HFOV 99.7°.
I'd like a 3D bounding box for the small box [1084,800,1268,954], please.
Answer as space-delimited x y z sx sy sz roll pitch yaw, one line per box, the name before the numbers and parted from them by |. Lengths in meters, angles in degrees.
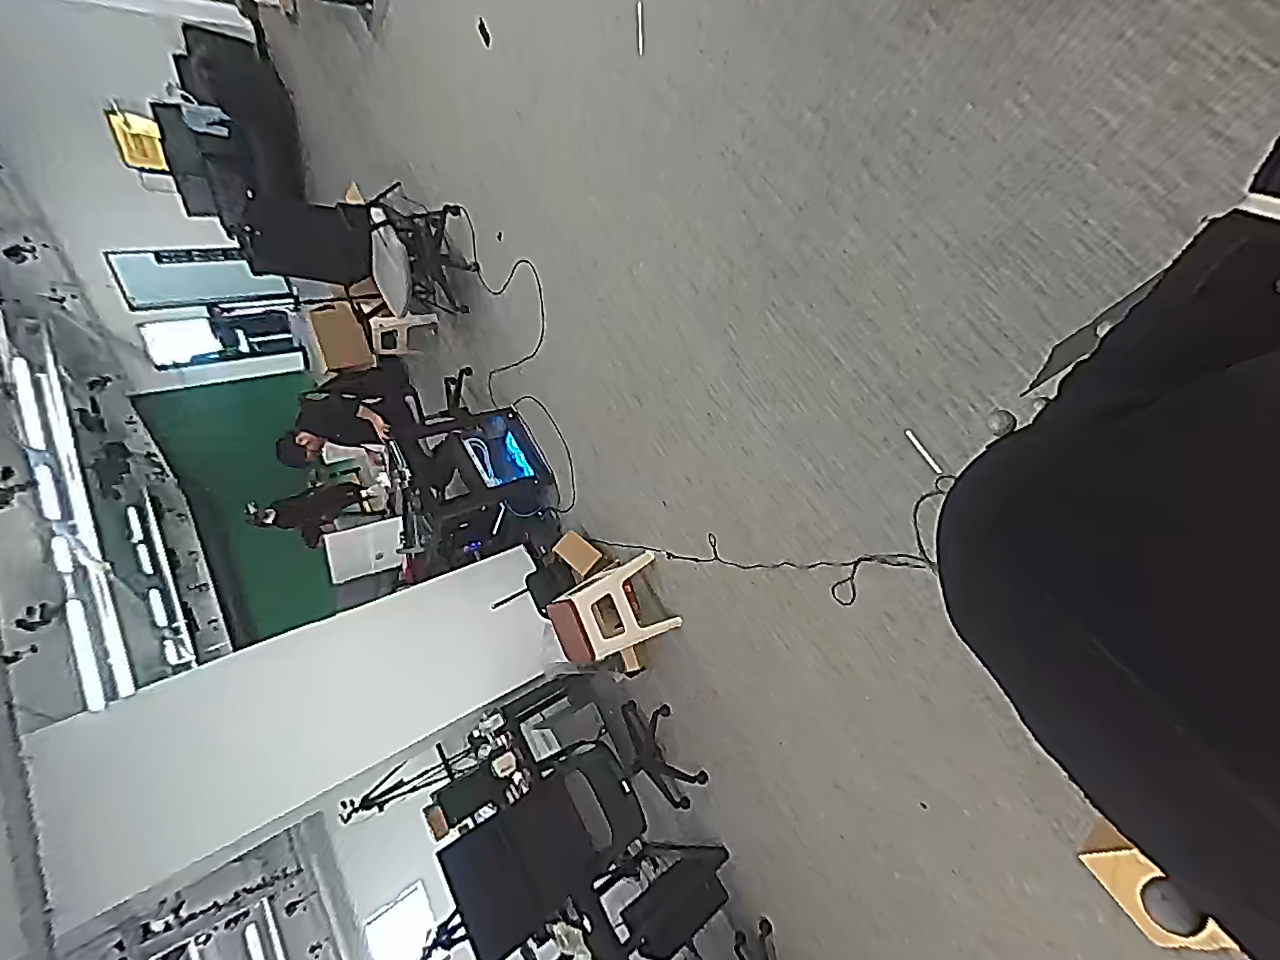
small box | 1.008 0.738 1.022 0.179 0.176 0.168 53 143 22
